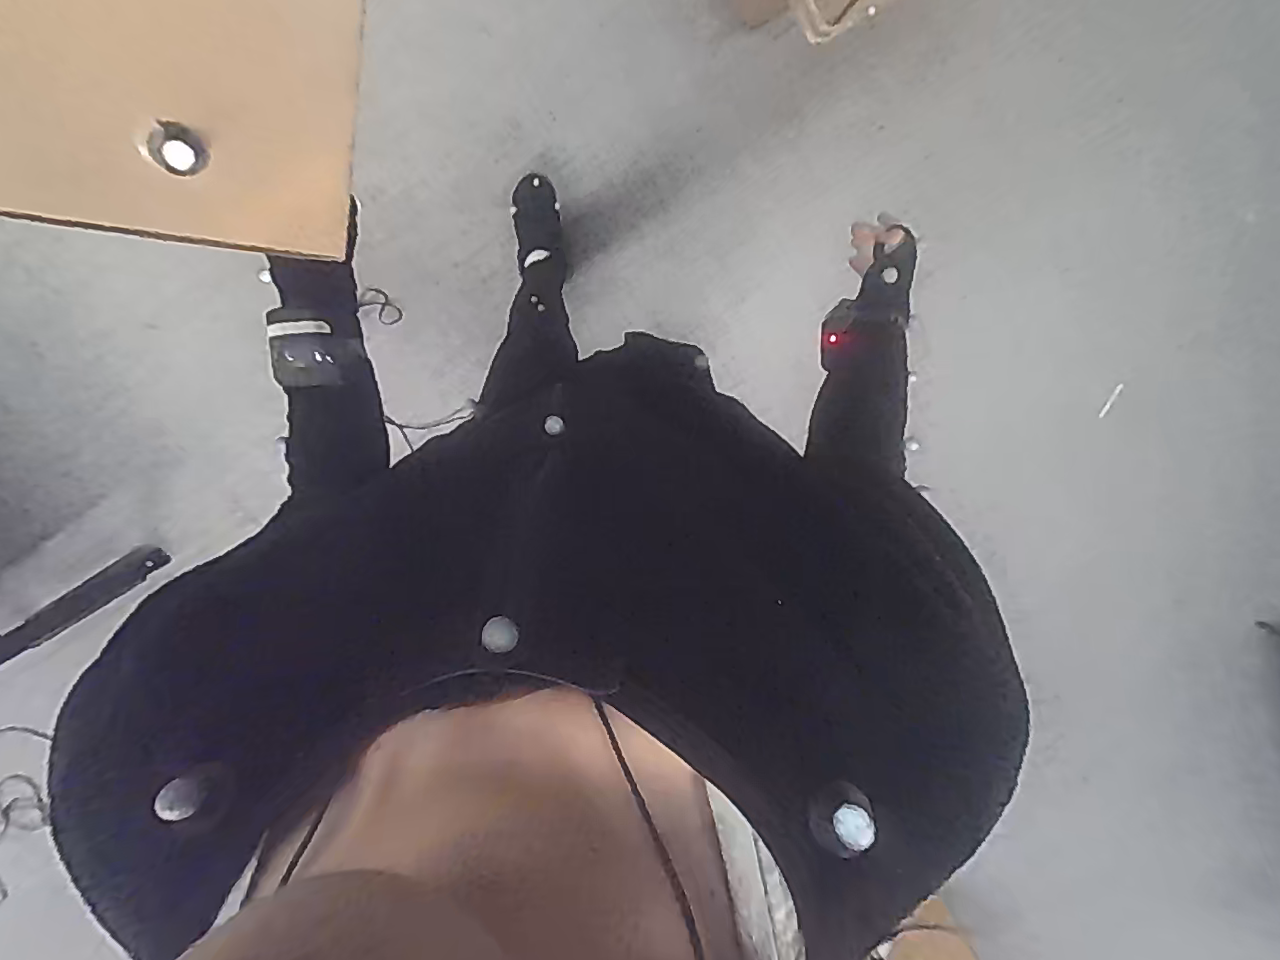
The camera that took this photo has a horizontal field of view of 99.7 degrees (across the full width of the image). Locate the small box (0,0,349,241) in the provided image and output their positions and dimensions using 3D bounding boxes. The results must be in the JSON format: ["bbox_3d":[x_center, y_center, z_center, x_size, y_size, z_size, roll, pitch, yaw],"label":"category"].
[{"bbox_3d":[-0.259,-0.242,0.258,0.168,0.179,0.176,42,124,30],"label":"small box"}]
